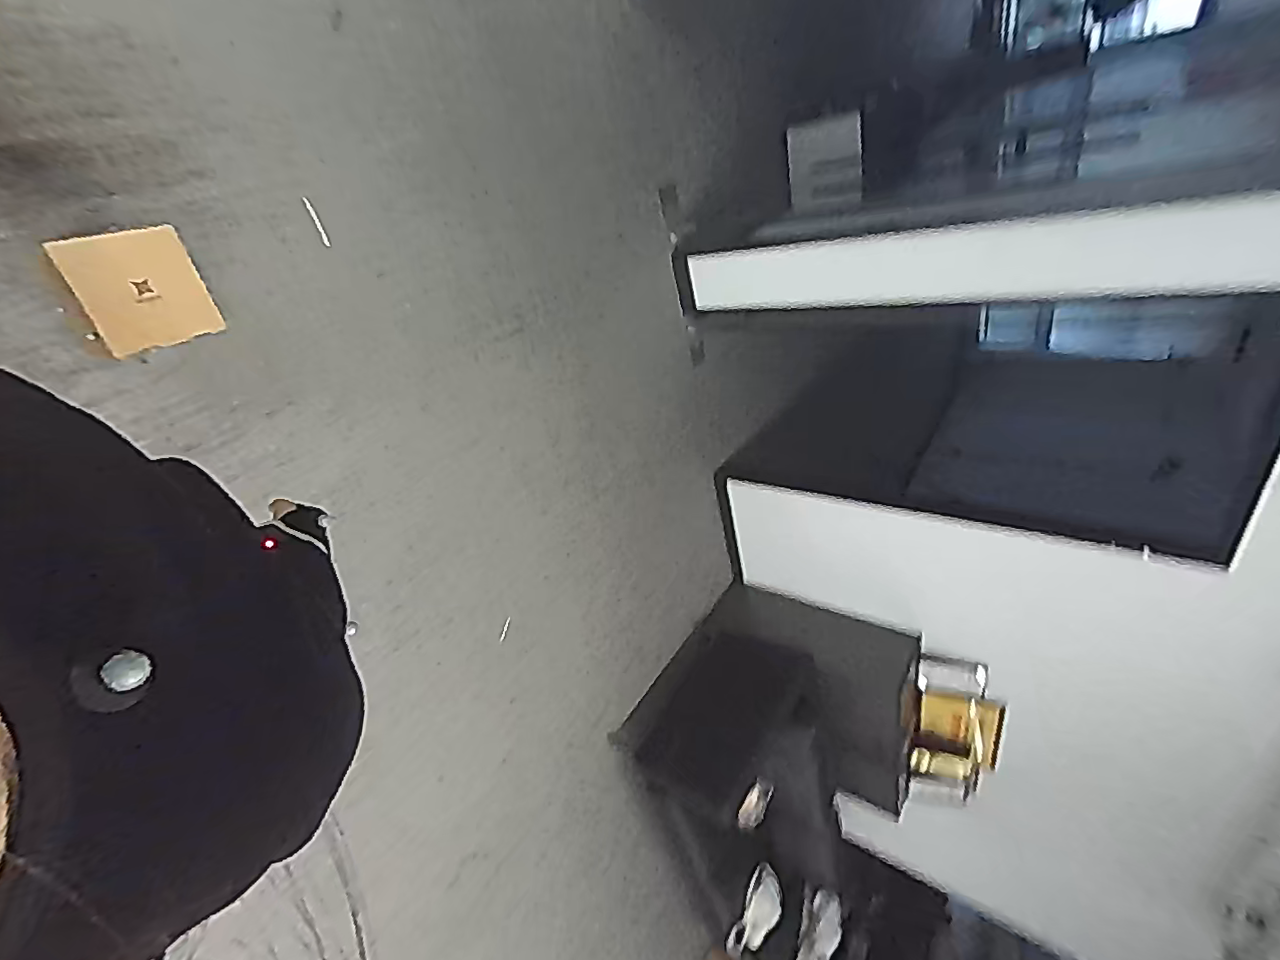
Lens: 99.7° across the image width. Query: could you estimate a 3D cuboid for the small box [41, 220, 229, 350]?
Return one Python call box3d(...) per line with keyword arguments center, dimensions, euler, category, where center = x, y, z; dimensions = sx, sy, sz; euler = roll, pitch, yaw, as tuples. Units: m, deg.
box3d(center=(-0.865, -0.331, 0.928), dimensions=(0.168, 0.176, 0.179), euler=(-38, 128, -40), category="small box")
